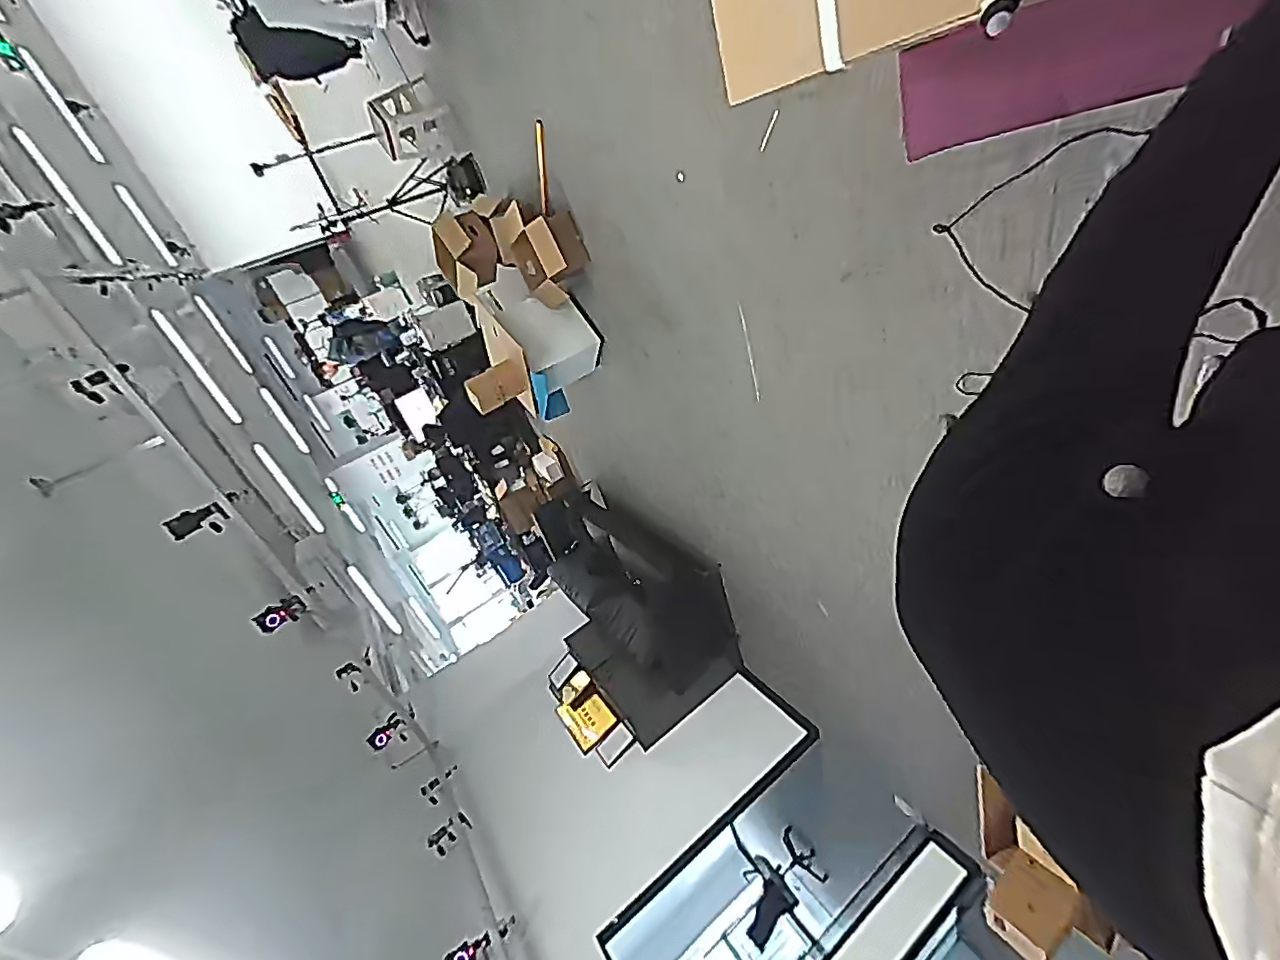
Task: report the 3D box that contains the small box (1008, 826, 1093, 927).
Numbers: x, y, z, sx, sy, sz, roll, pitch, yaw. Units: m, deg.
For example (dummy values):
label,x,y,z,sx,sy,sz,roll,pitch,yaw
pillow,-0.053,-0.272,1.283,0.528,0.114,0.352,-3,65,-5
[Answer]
label,x,y,z,sx,sy,sz,roll,pitch,yaw
small box,1.364,1.306,1.792,0.179,0.176,0.168,23,142,57
